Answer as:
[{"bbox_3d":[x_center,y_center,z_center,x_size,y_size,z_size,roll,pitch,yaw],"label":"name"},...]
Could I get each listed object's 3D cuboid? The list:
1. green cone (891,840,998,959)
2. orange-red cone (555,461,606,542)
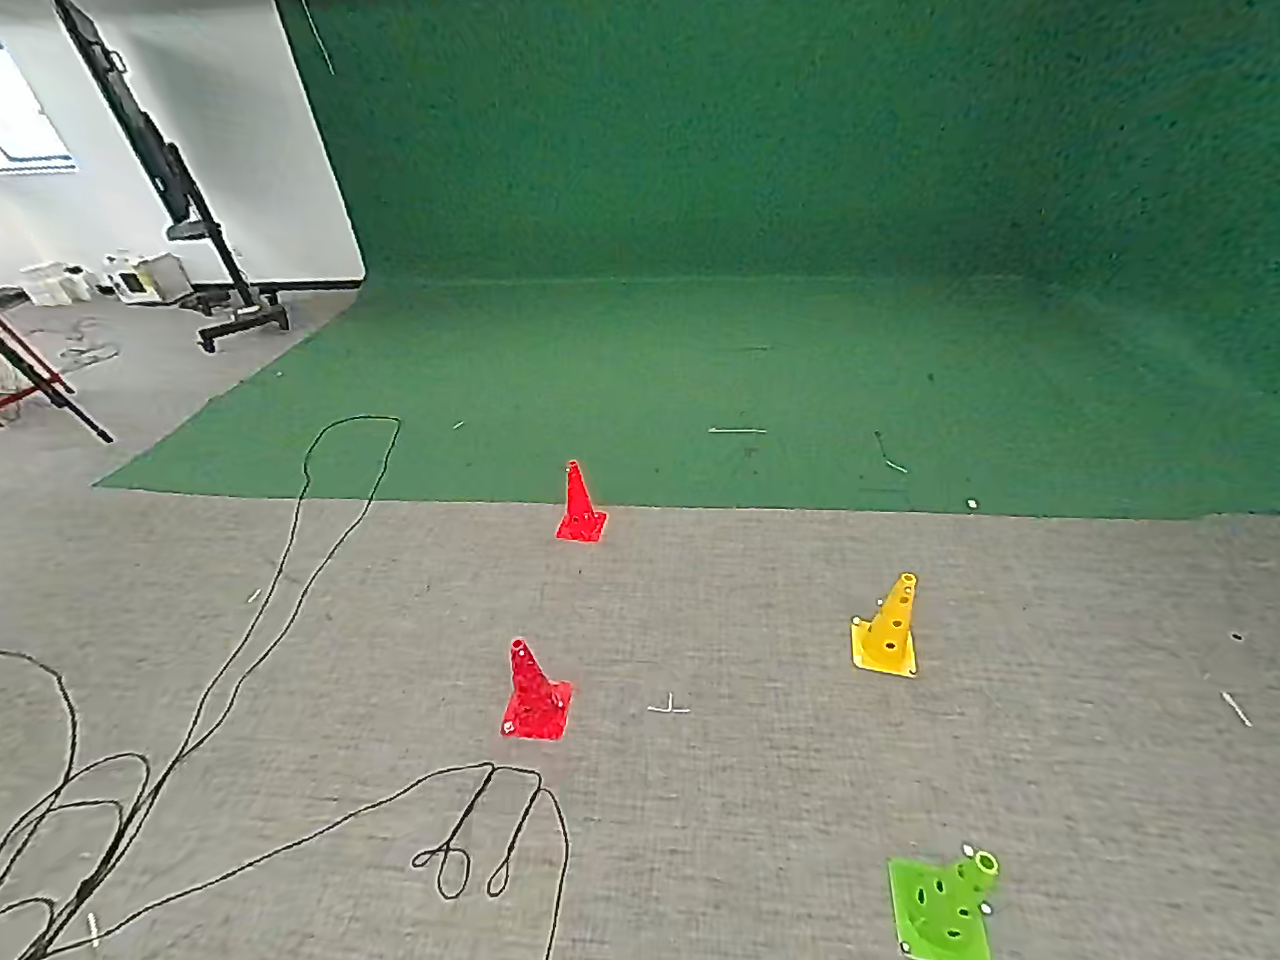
[{"bbox_3d":[0.720,0.901,1.204,0.200,0.368,0.202,5,38,10],"label":"green cone"},{"bbox_3d":[-0.279,0.071,2.336,0.199,0.360,0.198,4,38,12],"label":"orange-red cone"}]
